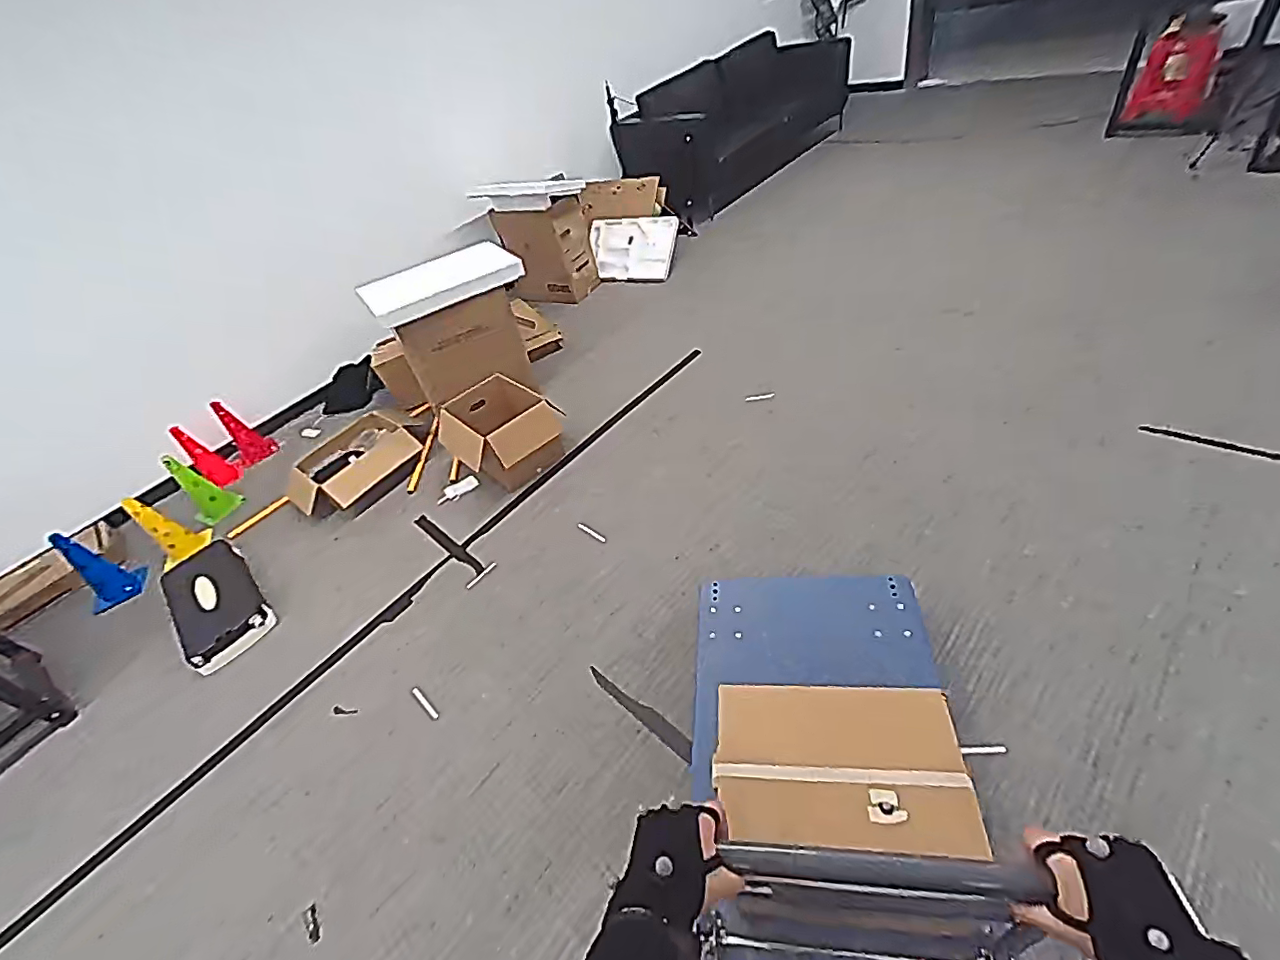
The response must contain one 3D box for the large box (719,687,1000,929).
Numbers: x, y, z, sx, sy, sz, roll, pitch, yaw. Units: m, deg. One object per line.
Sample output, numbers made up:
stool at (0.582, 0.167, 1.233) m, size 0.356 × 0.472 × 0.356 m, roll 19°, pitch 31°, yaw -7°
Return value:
large box at (0.362, 0.607, 1.014) m, size 0.408 × 0.320 × 0.320 m, roll -3°, pitch 44°, yaw 12°
